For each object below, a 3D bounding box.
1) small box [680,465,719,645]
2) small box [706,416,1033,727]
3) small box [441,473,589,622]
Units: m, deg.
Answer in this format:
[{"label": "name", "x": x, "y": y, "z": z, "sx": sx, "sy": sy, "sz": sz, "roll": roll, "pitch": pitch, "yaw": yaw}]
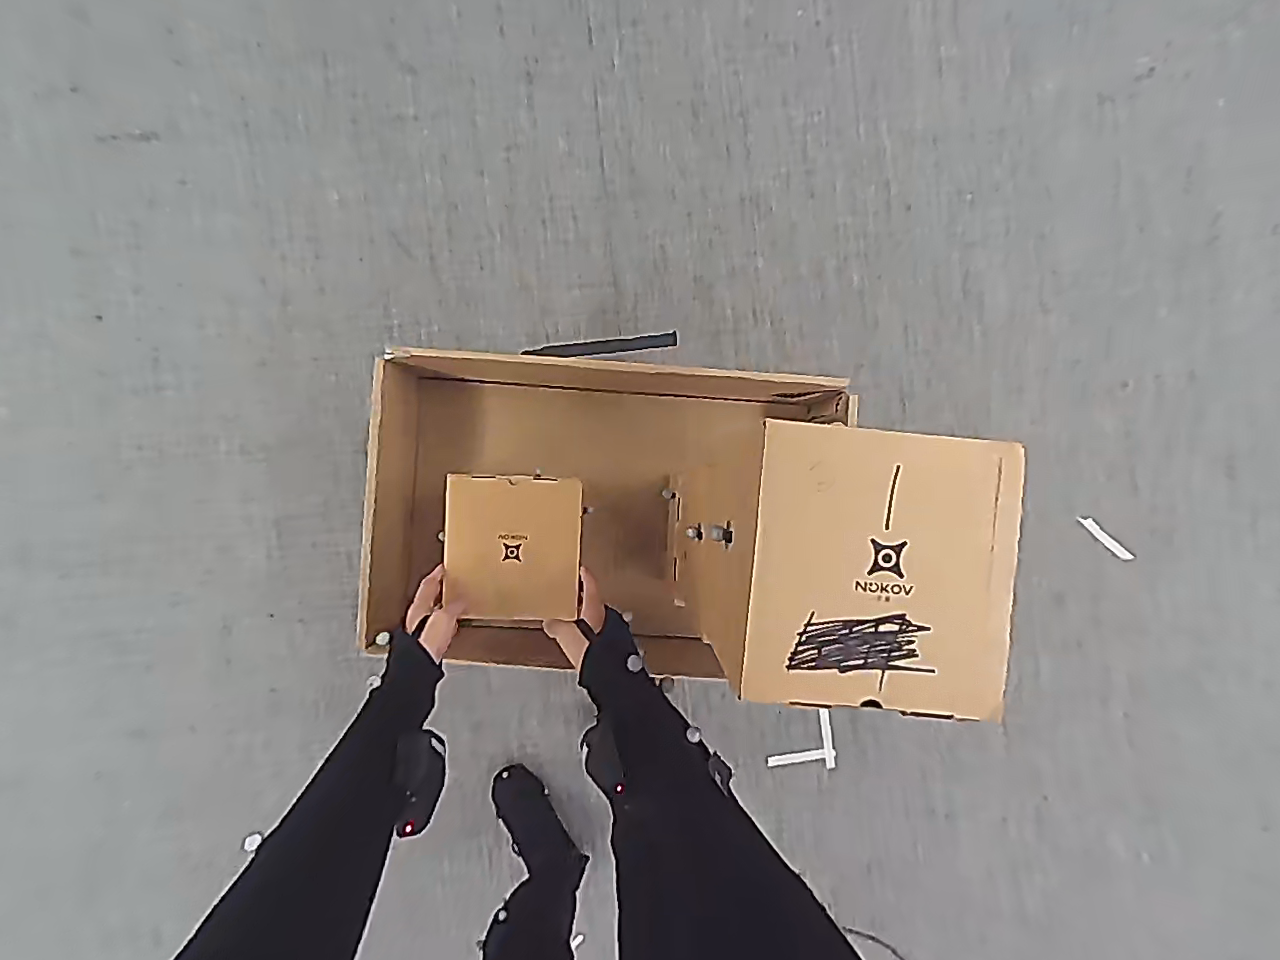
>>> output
[{"label": "small box", "x": 0.142, "y": 0.069, "z": 0.570, "sx": 0.179, "sy": 0.176, "sz": 0.168, "roll": 2, "pitch": 90, "yaw": -2}, {"label": "small box", "x": 0.146, "y": 0.055, "z": 0.405, "sx": 0.168, "sy": 0.176, "sz": 0.179, "roll": 6, "pitch": 90, "yaw": -1}, {"label": "small box", "x": -0.157, "y": 0.081, "z": 0.730, "sx": 0.168, "sy": 0.176, "sz": 0.179, "roll": 2, "pitch": 90, "yaw": -2}]
